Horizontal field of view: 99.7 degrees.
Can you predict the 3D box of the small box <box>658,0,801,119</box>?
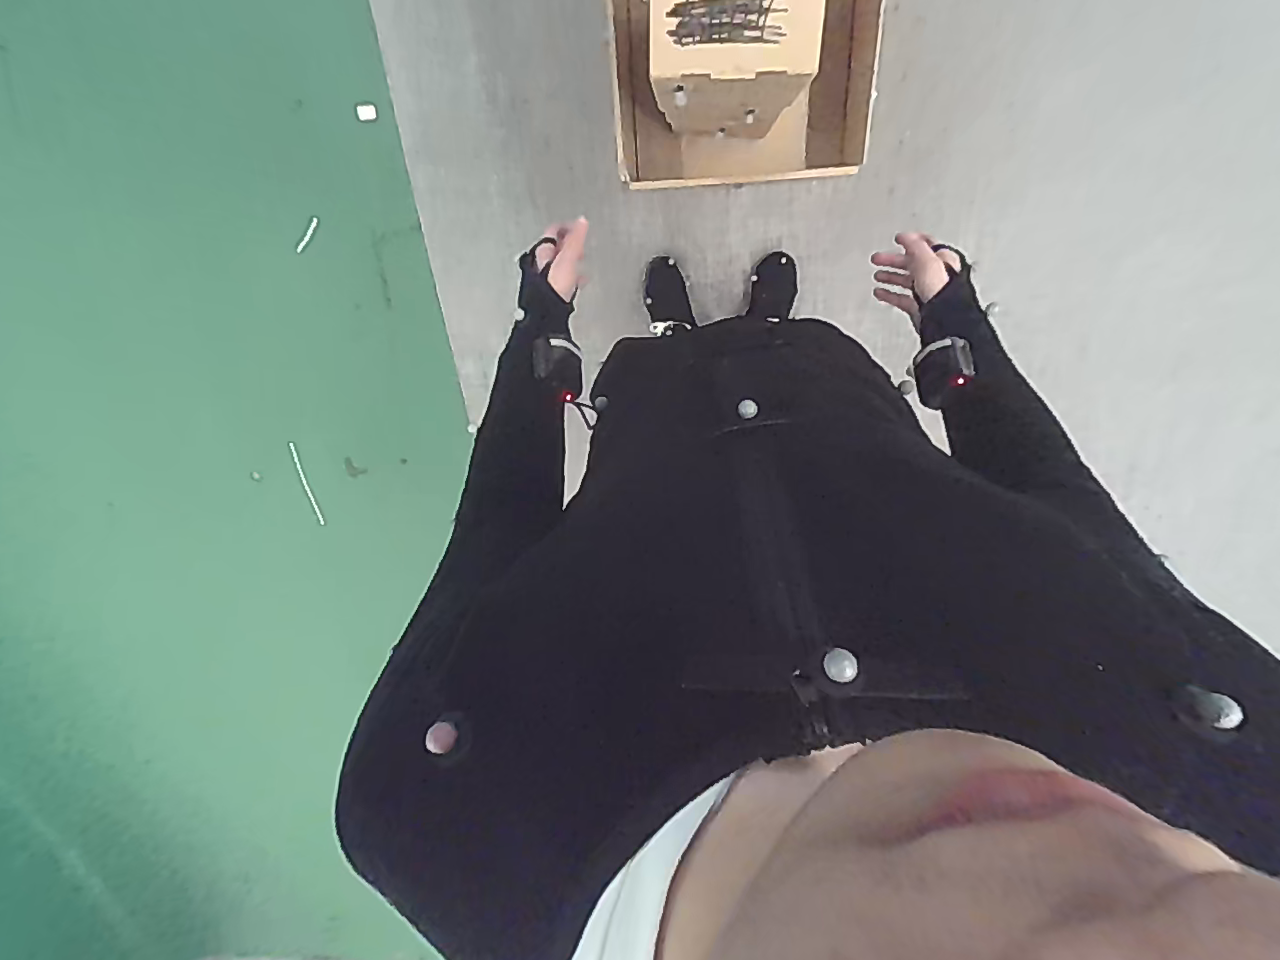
[{"bbox_3d":[0.115,-0.589,0.707,0.168,0.176,0.179,4,114,4],"label":"small box"}]
